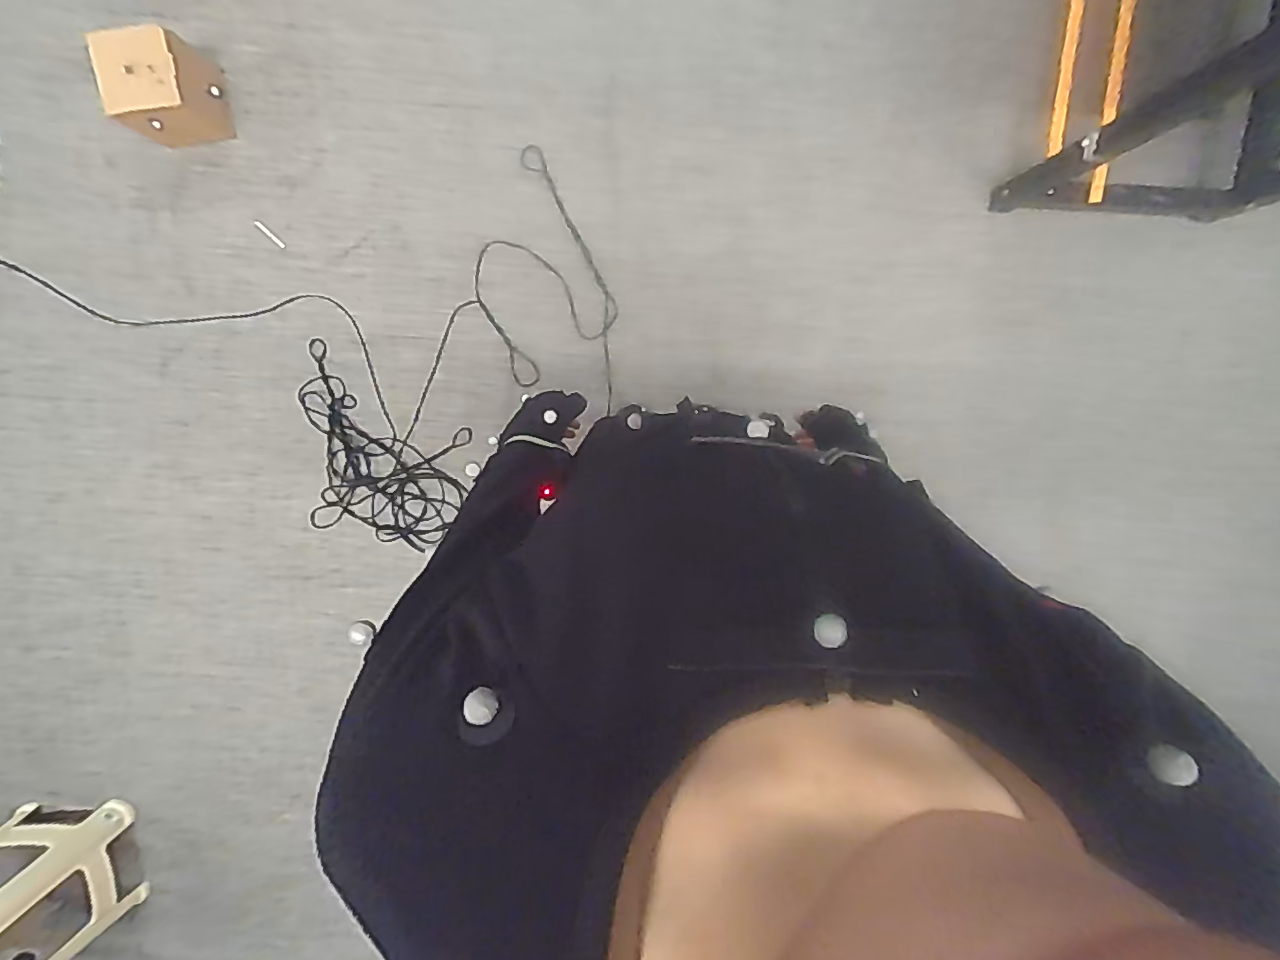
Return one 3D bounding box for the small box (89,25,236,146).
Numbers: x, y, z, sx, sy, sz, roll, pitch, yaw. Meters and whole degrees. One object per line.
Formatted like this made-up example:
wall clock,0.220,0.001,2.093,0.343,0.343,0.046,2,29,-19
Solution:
small box,-1.107,-0.912,1.267,0.179,0.176,0.168,-7,100,2
